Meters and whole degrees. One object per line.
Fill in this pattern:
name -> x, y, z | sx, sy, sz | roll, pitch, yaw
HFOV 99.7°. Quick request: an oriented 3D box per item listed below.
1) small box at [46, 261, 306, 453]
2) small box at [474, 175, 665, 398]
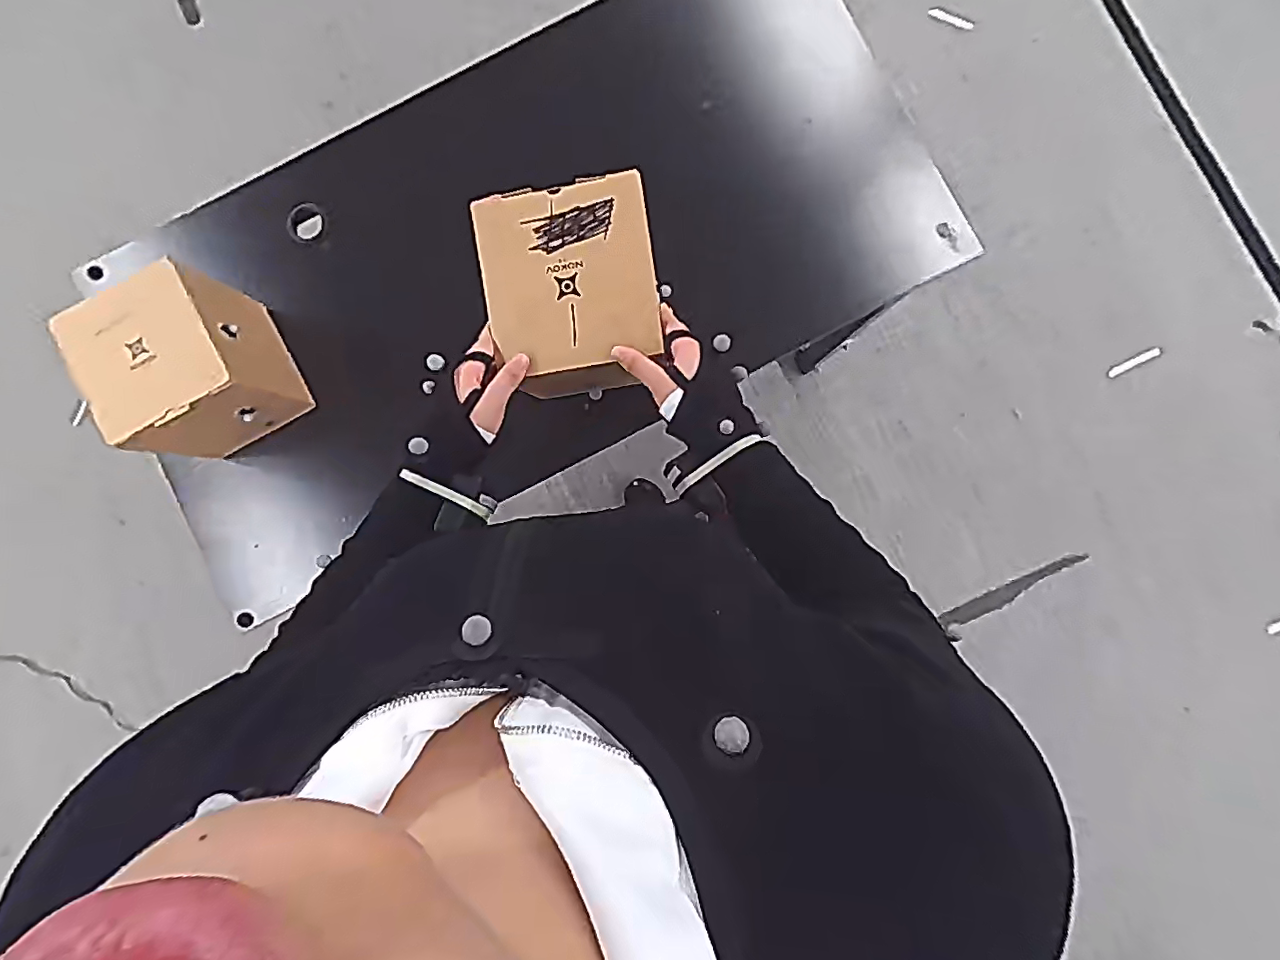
small box -> -0.594, -0.147, 0.720 | 0.168, 0.176, 0.179 | -29, 87, -2
small box -> -0.065, -0.196, 0.598 | 0.168, 0.176, 0.179 | -8, 92, 5
